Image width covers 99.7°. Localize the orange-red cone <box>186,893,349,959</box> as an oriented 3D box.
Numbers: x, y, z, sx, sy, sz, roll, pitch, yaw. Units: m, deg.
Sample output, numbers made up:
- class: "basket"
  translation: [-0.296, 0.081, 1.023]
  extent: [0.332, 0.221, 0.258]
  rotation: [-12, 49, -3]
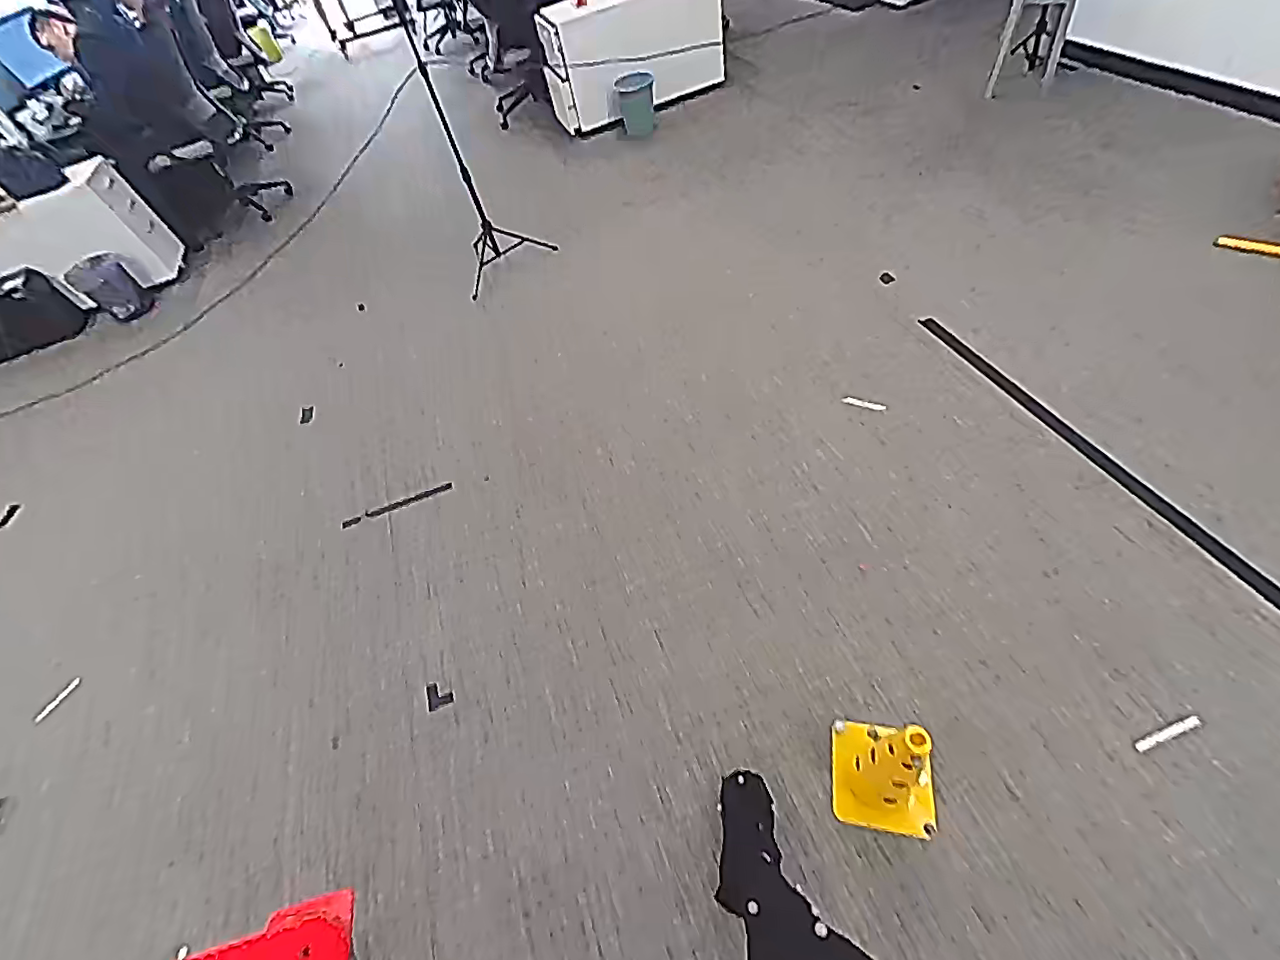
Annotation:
- class: "orange-red cone"
  translation: [-0.752, 0.921, 1.022]
  extent: [0.199, 0.360, 0.198]
  rotation: [-15, 52, -1]
